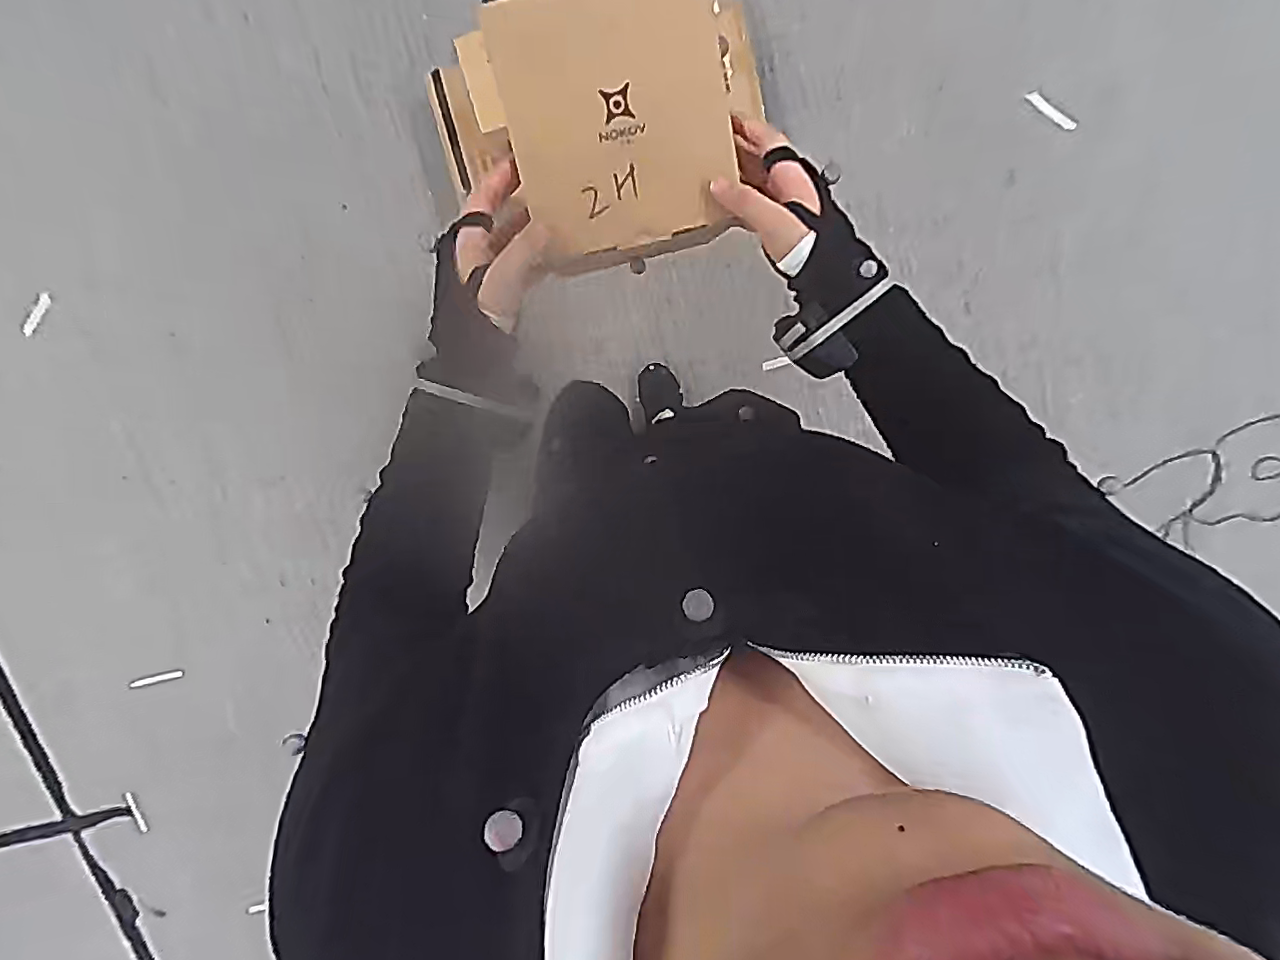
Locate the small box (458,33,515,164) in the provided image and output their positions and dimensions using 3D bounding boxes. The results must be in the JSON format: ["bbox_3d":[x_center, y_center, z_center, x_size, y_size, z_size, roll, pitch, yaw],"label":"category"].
[{"bbox_3d":[-0.262,-0.814,1.150,0.168,0.176,0.179,-15,101,1],"label":"small box"}]

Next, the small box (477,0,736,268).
[{"bbox_3d":[-0.024,-0.301,0.478,0.168,0.176,0.179,-13,107,1],"label":"small box"}]
